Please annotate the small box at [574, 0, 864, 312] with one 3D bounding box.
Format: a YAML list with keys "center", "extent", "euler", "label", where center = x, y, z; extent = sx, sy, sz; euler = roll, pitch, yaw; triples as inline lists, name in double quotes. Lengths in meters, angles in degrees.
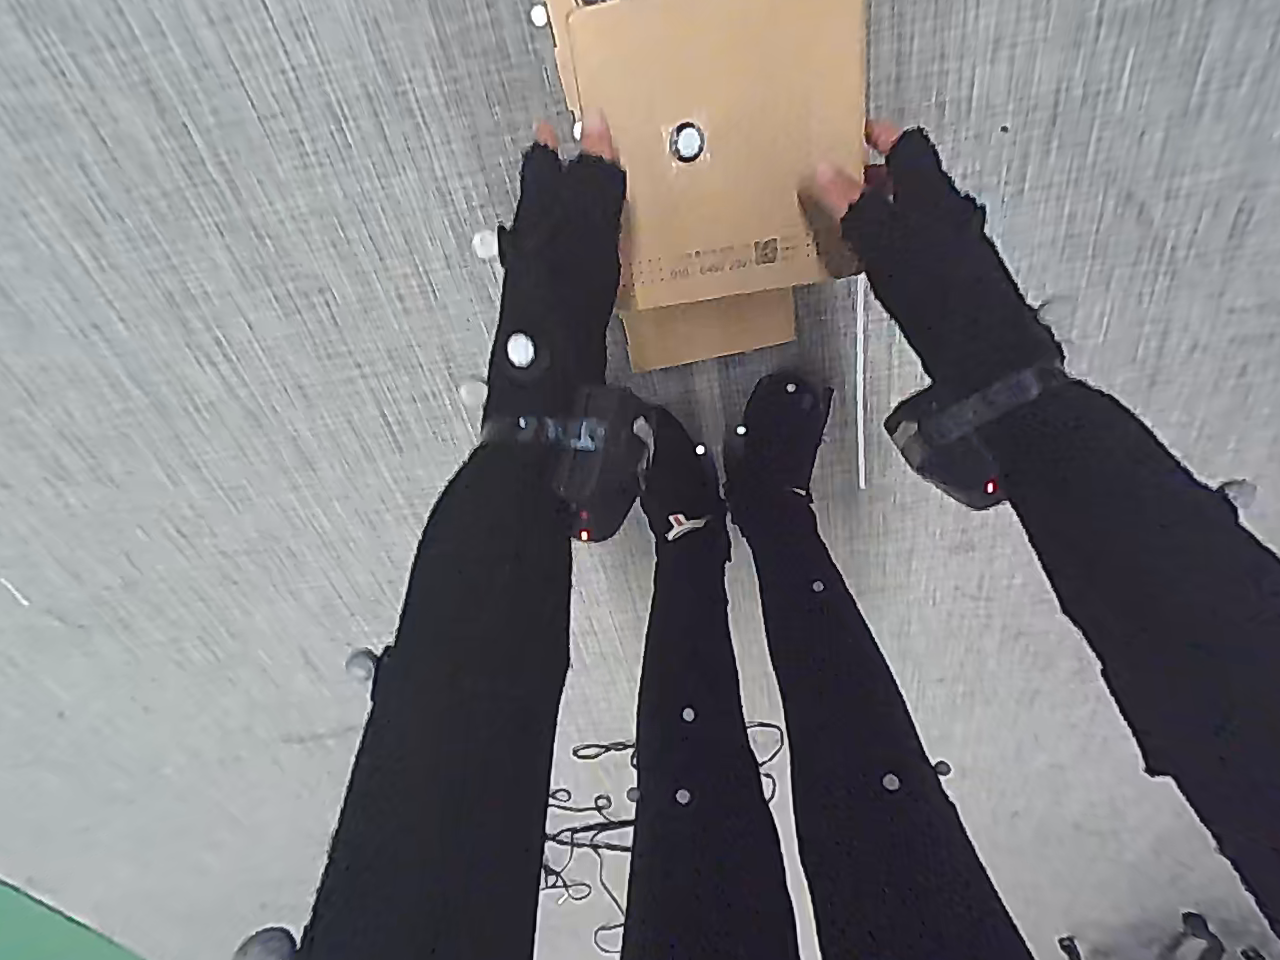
- center: [0.060, -0.227, 0.405]
  extent: [0.168, 0.179, 0.176]
  euler: [-8, 111, 6]
  label: "small box"

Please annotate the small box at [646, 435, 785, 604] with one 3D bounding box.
- center: [0.109, 0.055, 0.817]
  extent: [0.168, 0.176, 0.179]
  euler: [-11, 123, -3]
  label: "small box"
